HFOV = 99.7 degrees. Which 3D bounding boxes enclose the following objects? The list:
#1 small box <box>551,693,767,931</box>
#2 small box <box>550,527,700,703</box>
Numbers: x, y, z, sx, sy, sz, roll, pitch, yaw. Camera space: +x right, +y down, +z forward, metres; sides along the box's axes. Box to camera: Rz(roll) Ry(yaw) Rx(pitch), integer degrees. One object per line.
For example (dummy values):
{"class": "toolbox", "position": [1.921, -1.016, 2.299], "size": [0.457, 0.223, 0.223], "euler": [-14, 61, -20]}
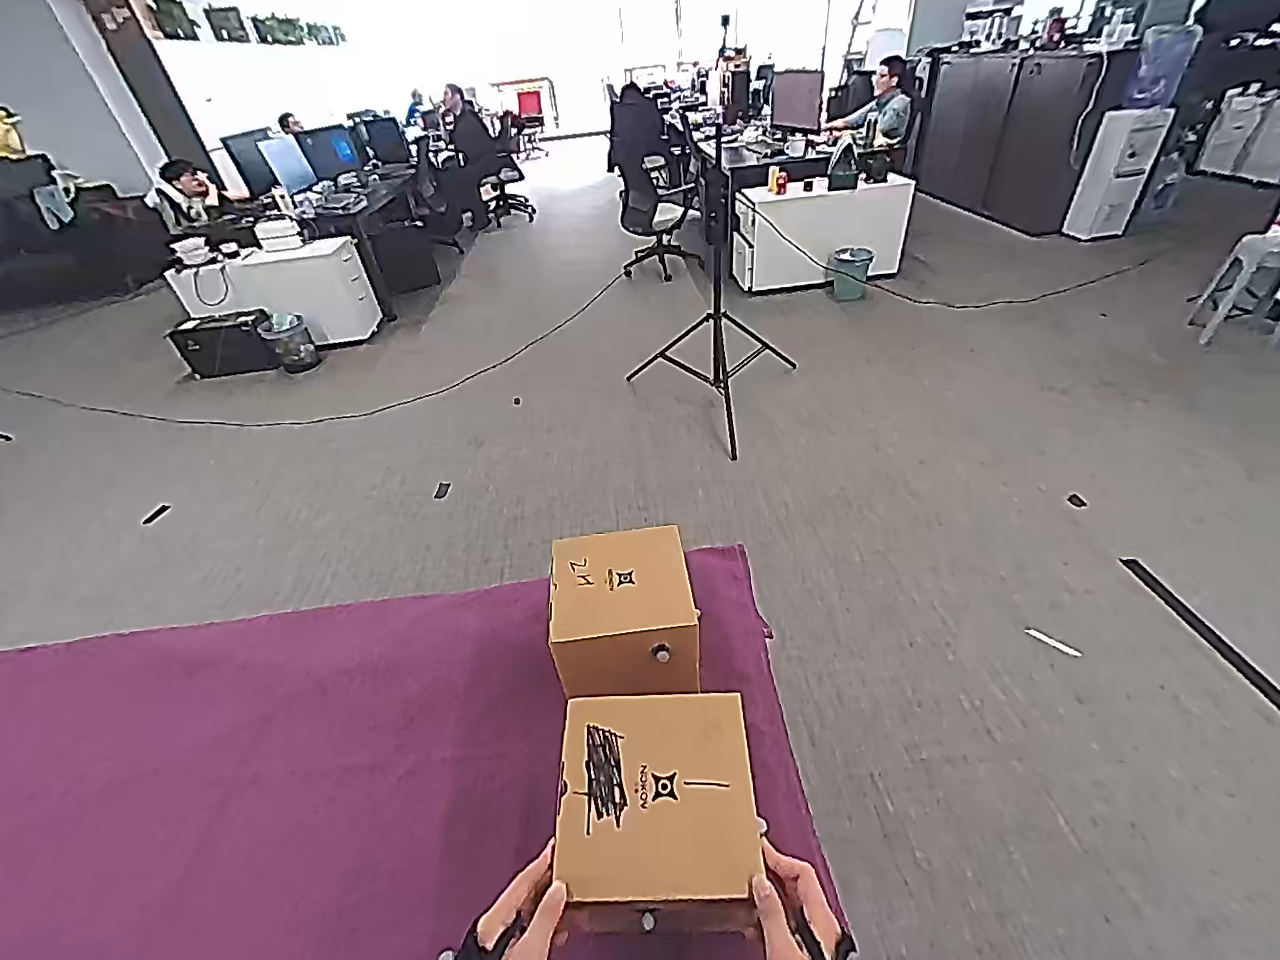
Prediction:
{"class": "small box", "position": [0.023, 0.330, 0.536], "size": [0.179, 0.176, 0.168], "euler": [-4, 44, 3]}
{"class": "small box", "position": [-0.019, 0.187, 0.730], "size": [0.179, 0.176, 0.168], "euler": [-7, 39, -1]}
